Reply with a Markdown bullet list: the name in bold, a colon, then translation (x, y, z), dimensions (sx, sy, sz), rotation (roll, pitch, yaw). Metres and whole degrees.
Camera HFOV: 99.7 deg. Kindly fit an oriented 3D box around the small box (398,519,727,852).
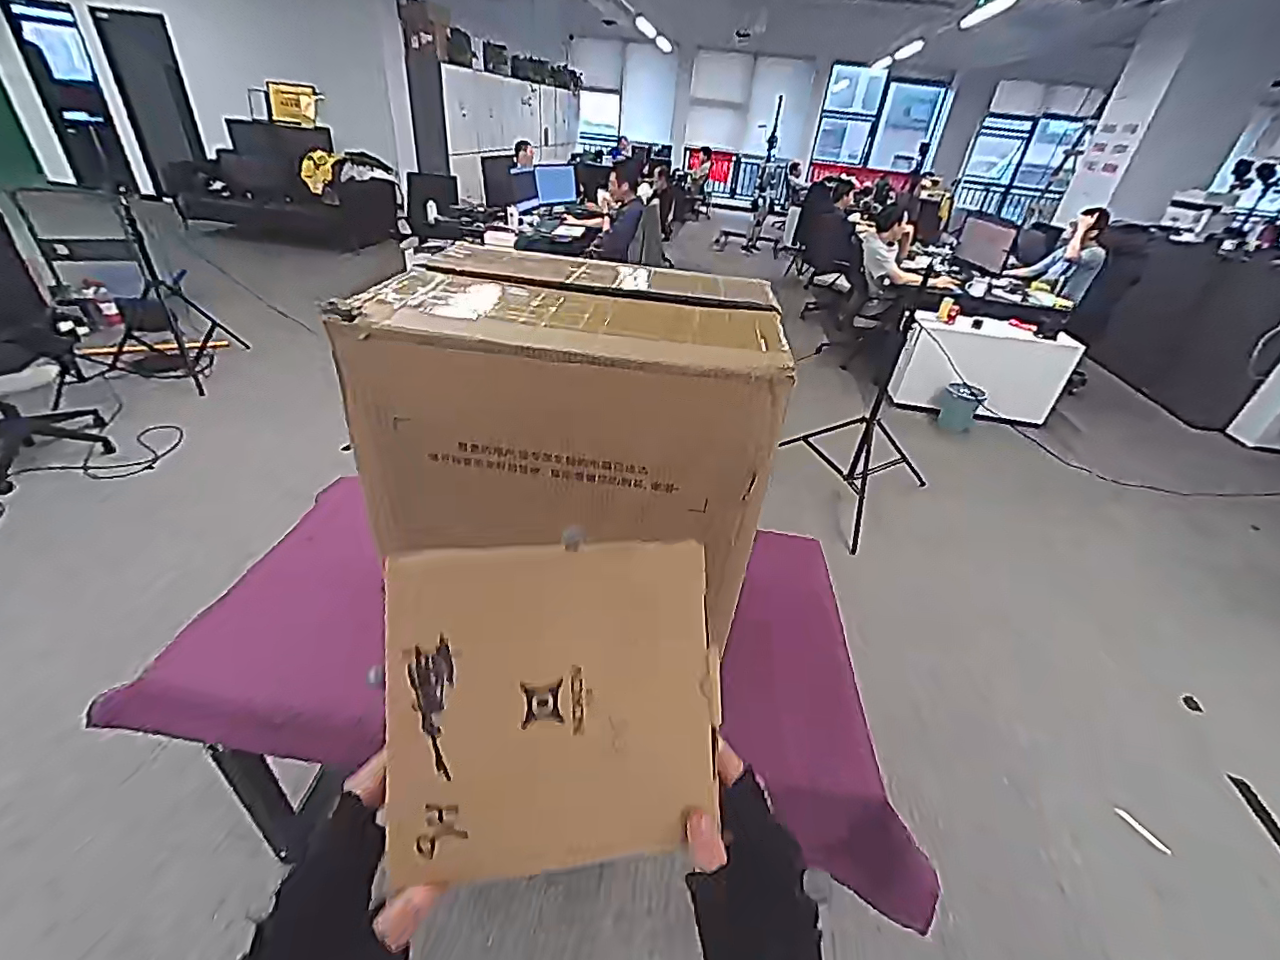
- **small box**: translation (-0.055, 0.113, 0.371), dimensions (0.179, 0.168, 0.176), rotation (0, -8, -13)
